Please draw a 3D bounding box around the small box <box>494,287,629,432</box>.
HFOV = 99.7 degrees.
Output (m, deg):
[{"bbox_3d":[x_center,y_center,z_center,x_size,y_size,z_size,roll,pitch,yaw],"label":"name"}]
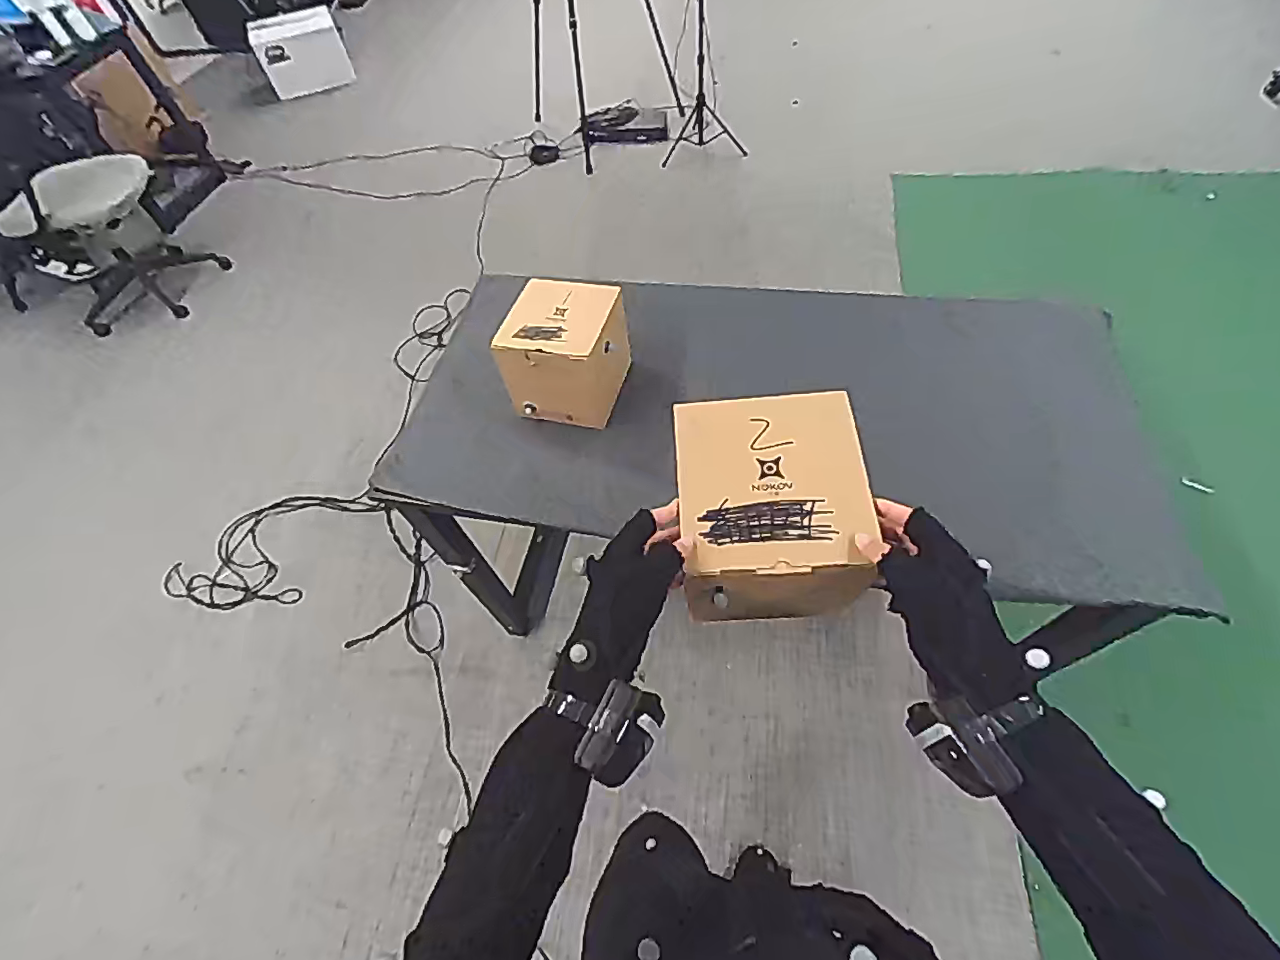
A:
[{"bbox_3d":[-0.123,-0.206,0.938,0.168,0.176,0.179,10,56,13],"label":"small box"}]
